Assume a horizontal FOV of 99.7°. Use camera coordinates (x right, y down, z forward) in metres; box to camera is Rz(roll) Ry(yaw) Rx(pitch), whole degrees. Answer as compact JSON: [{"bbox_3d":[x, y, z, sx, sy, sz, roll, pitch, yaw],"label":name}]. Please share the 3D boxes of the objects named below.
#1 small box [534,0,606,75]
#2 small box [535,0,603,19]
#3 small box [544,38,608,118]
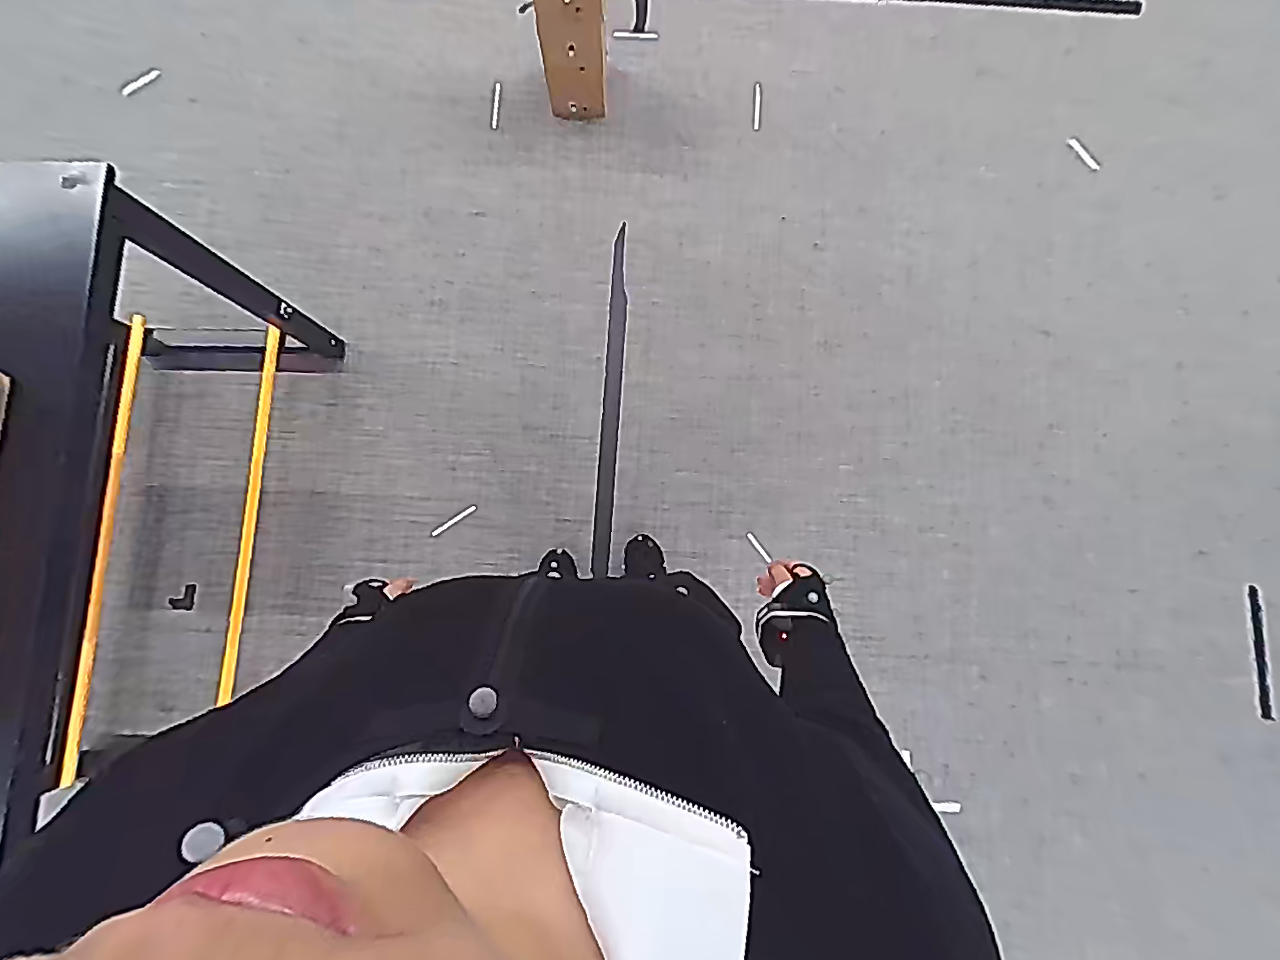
[{"bbox_3d":[-0.177,-1.205,1.415,0.168,0.176,0.179,1,84,0],"label":"small box"},{"bbox_3d":[-0.177,-1.223,1.250,0.168,0.176,0.179,-4,83,0],"label":"small box"},{"bbox_3d":[-0.183,-1.202,1.580,0.168,0.176,0.179,0,84,0],"label":"small box"}]
